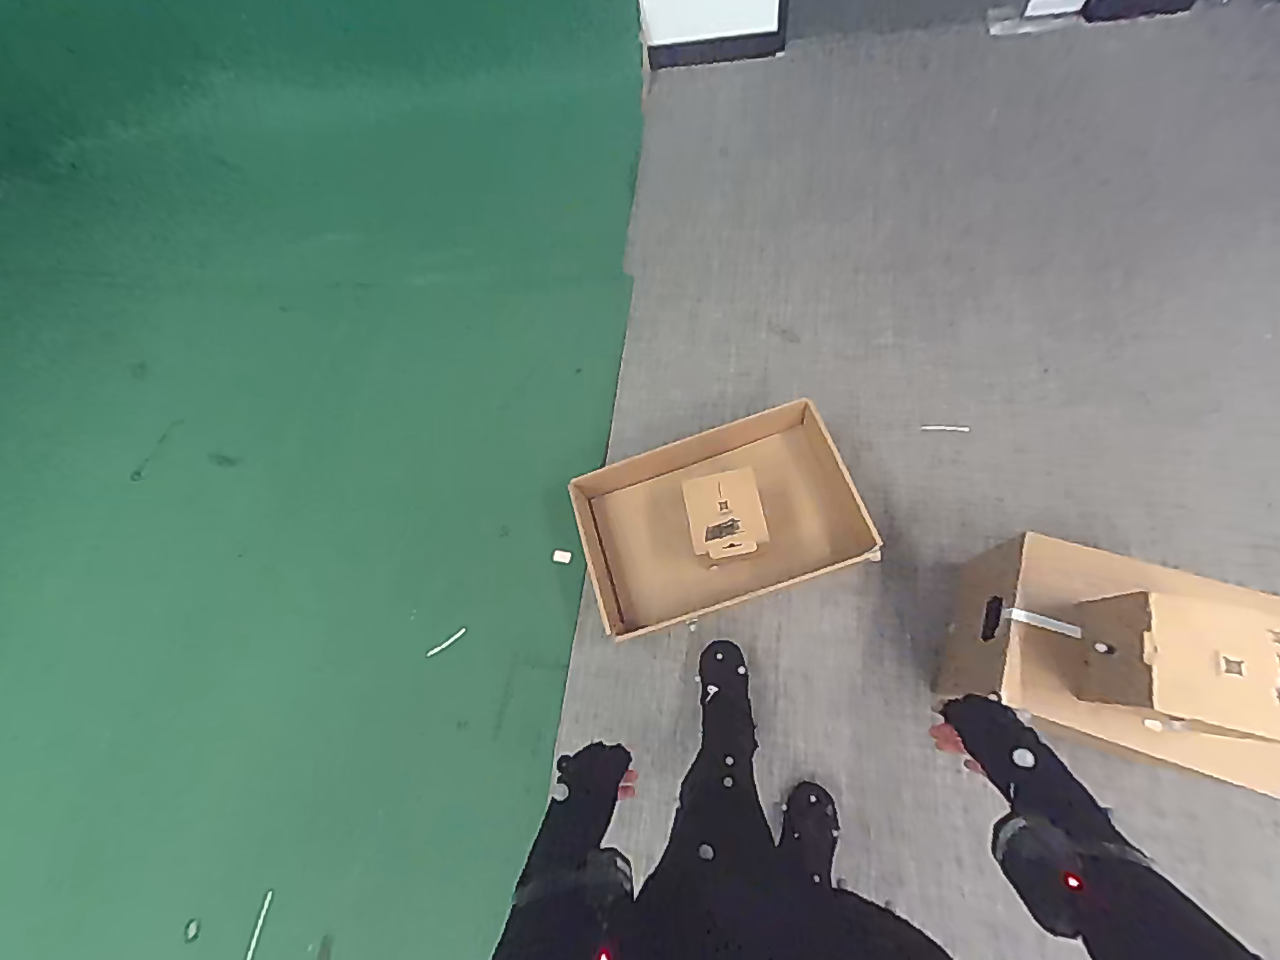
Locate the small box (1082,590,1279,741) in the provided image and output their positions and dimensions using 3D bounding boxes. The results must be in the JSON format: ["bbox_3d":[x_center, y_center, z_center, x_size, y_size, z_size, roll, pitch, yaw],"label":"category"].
[{"bbox_3d":[0.797,0.273,0.801,0.179,0.176,0.168,10,74,15],"label":"small box"}]

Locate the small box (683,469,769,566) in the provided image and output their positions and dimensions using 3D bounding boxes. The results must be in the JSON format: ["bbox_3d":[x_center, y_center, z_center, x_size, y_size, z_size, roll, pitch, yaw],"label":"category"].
[{"bbox_3d":[0.203,0.097,1.263,0.168,0.176,0.179,-12,67,8],"label":"small box"}]
